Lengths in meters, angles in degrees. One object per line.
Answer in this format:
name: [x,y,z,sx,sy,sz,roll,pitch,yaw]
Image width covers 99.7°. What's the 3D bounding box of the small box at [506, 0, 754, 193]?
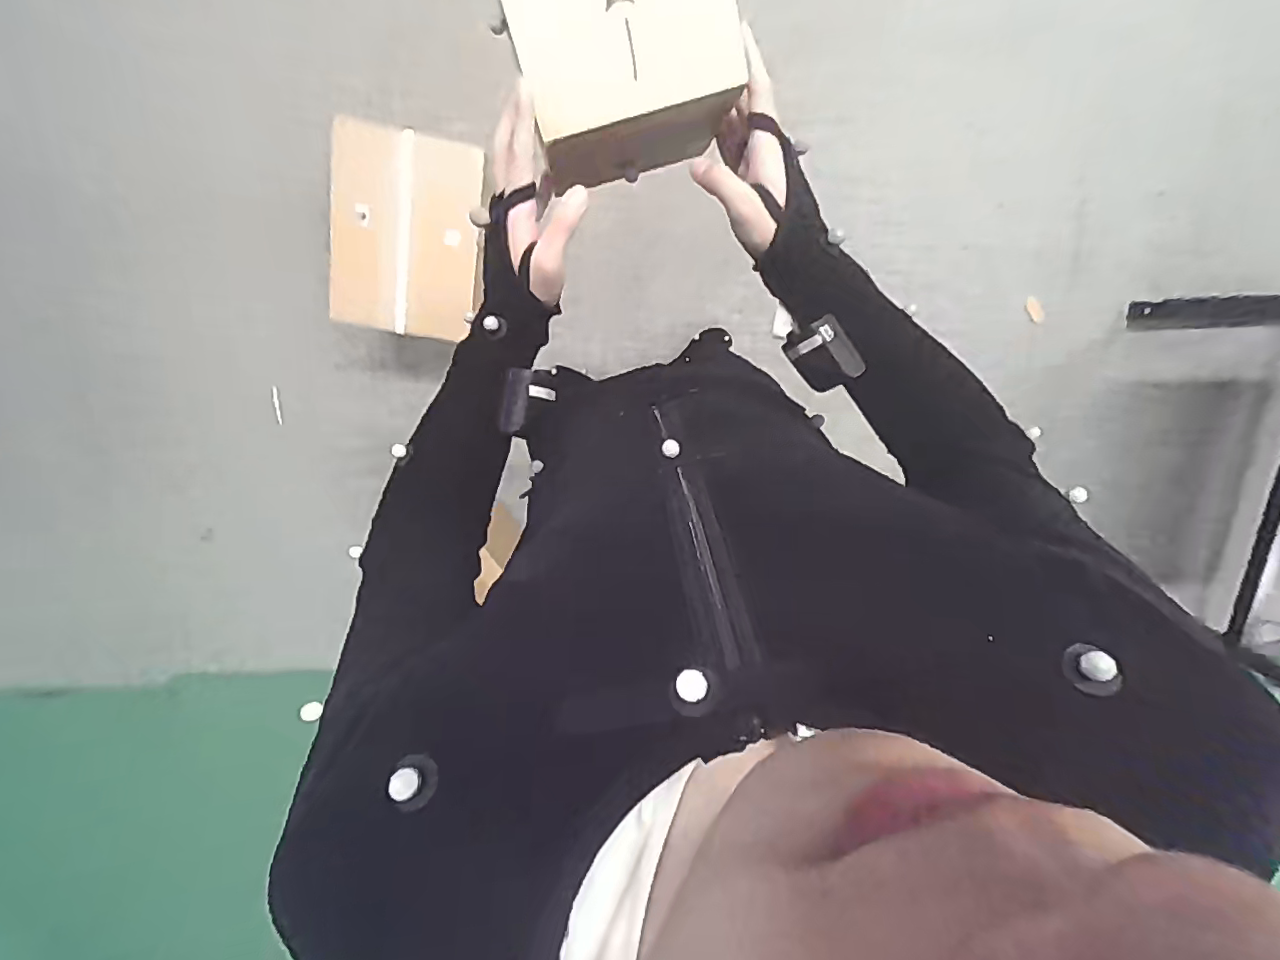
small box: [-0.020,-0.378,0.464,0.168,0.176,0.179,-16,106,-1]
